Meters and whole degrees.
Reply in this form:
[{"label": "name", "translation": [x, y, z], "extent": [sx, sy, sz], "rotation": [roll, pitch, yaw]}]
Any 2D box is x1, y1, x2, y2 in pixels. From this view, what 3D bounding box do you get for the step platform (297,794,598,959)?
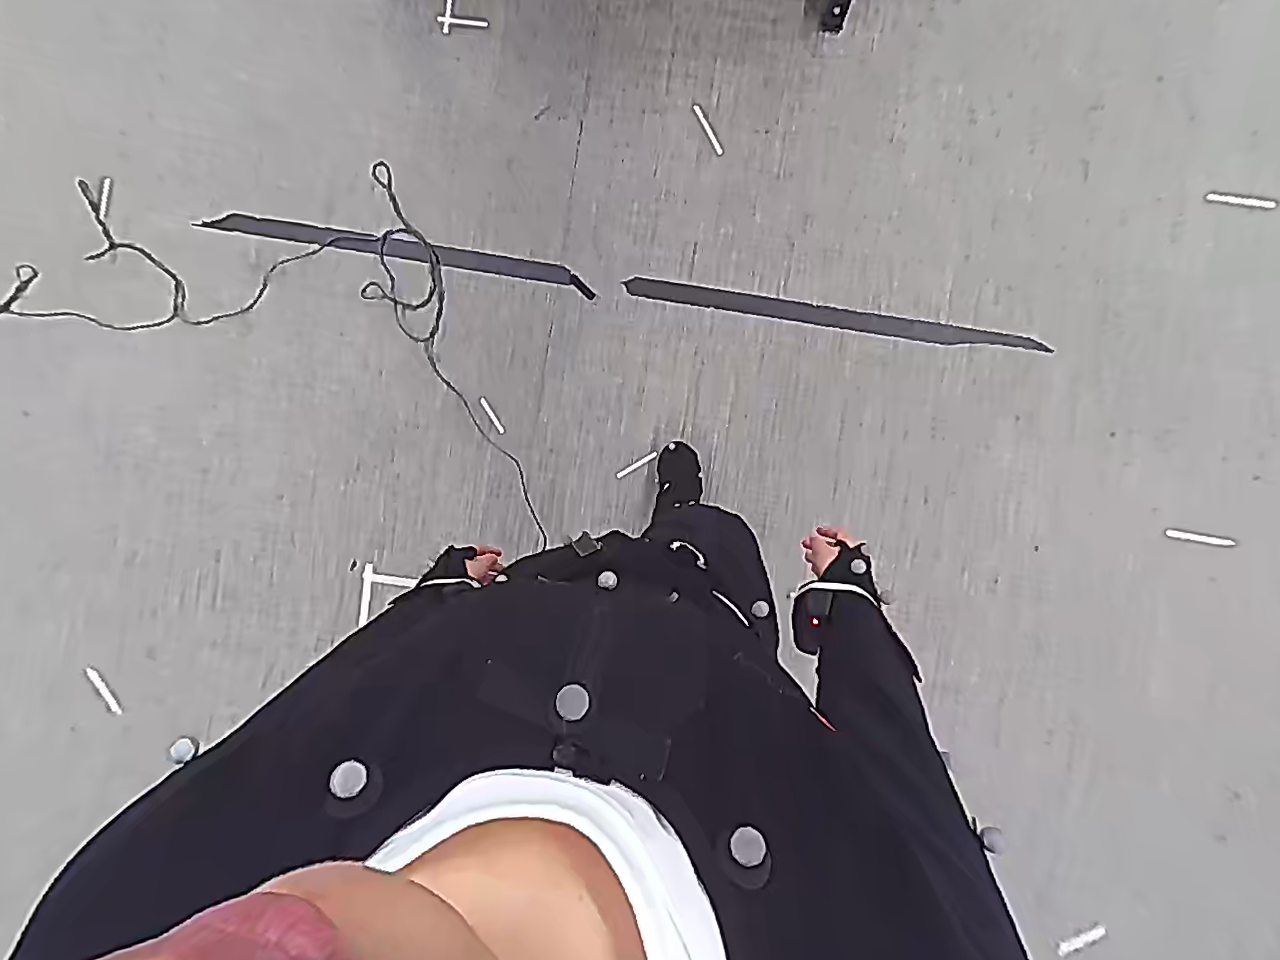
[{"label": "step platform", "translation": [-0.453, 1.008, 1.308], "extent": [0.684, 0.204, 0.286], "rotation": [9, 91, 2]}]
